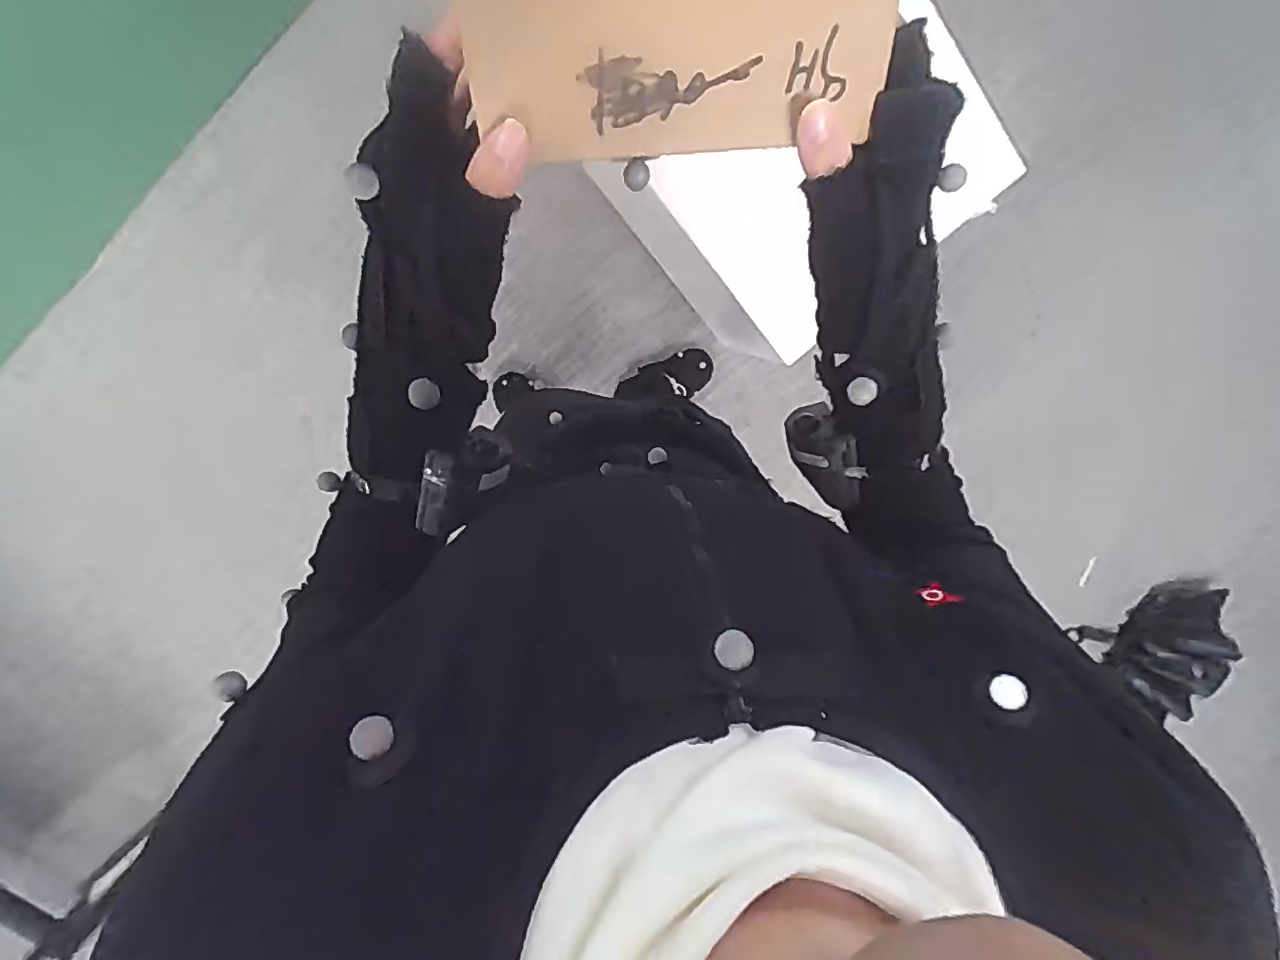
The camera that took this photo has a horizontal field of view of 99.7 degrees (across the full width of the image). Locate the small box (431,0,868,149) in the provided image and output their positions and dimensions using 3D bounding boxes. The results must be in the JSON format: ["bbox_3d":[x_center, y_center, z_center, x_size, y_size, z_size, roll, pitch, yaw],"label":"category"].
[{"bbox_3d":[-0.003,-0.259,0.241,0.168,0.176,0.179,-5,126,-1],"label":"small box"}]
